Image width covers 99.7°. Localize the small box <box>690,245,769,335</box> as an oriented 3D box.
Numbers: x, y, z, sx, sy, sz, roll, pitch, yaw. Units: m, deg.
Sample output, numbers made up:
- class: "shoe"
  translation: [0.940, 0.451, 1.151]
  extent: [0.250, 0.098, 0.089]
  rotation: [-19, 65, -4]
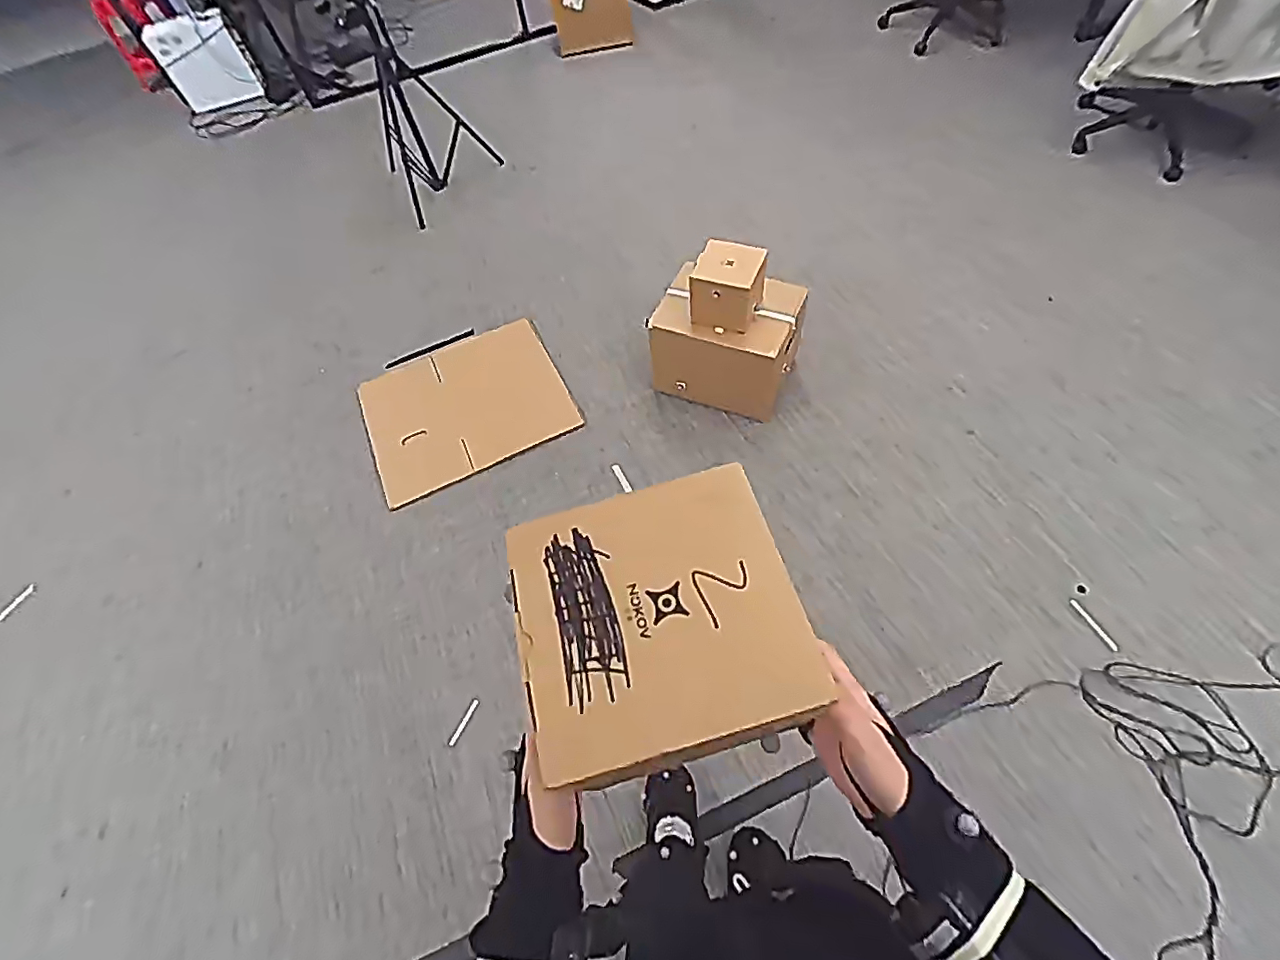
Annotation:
- class: "small box"
  translation: [0.256, -0.543, 1.557]
  extent: [0.179, 0.176, 0.168]
  rotation: [18, 65, 16]
